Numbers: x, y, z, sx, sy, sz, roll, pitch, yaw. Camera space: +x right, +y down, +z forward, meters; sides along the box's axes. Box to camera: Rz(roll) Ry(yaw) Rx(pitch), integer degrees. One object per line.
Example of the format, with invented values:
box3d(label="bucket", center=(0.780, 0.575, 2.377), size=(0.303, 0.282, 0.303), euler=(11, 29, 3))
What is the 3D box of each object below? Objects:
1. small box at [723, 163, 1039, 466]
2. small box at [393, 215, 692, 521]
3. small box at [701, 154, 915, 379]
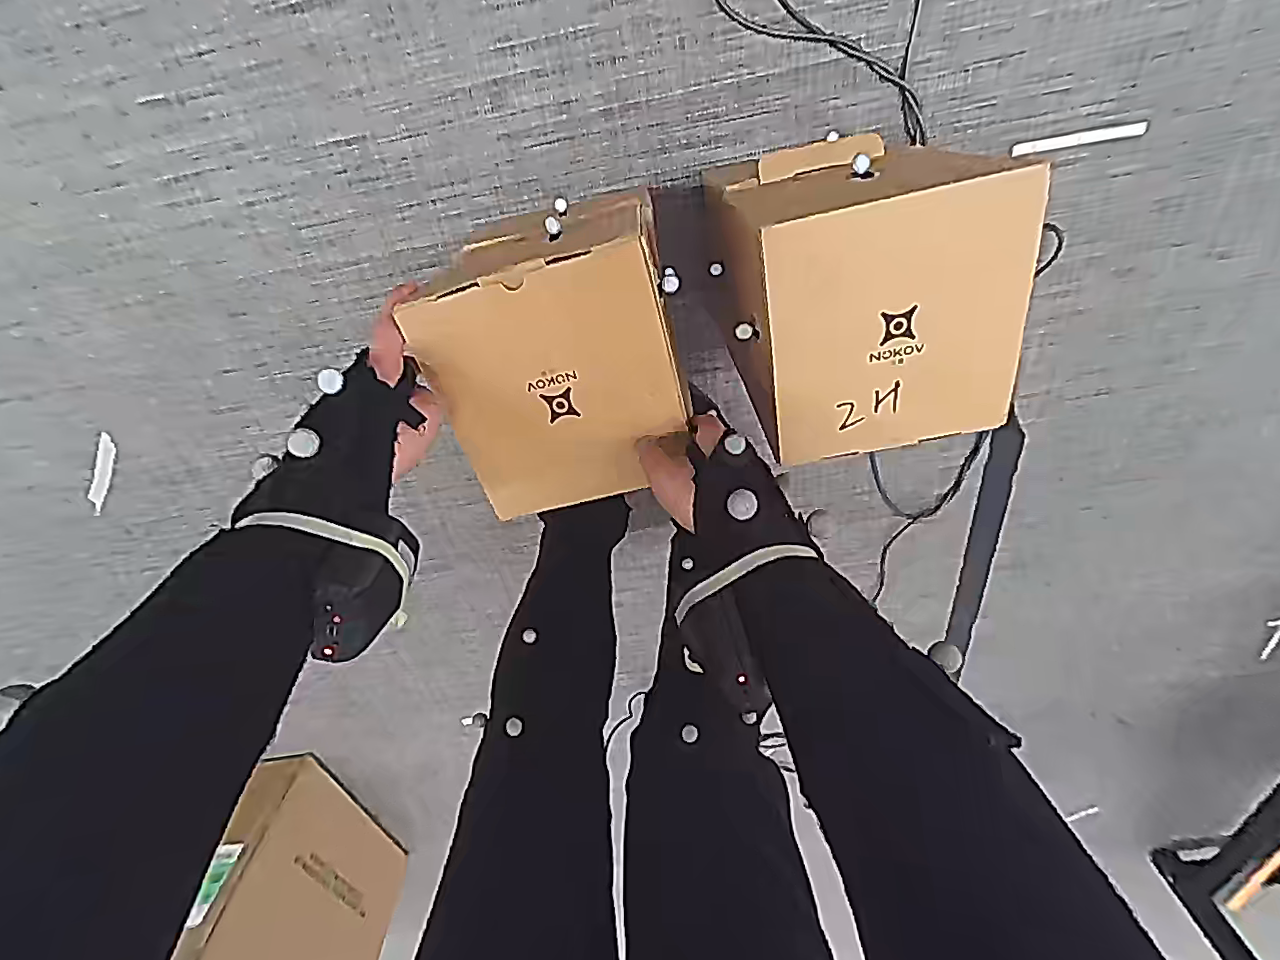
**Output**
box3d(label="small box", center=(0.165, -0.138, 0.428), size=(0.168, 0.176, 0.179), euler=(-10, 123, 6))
box3d(label="small box", center=(-0.058, -0.096, 0.444), size=(0.168, 0.176, 0.179), euler=(-13, 121, 8))
box3d(label="small box", center=(0.161, -0.229, 0.565), size=(0.168, 0.176, 0.179), euler=(-9, 124, 5))
